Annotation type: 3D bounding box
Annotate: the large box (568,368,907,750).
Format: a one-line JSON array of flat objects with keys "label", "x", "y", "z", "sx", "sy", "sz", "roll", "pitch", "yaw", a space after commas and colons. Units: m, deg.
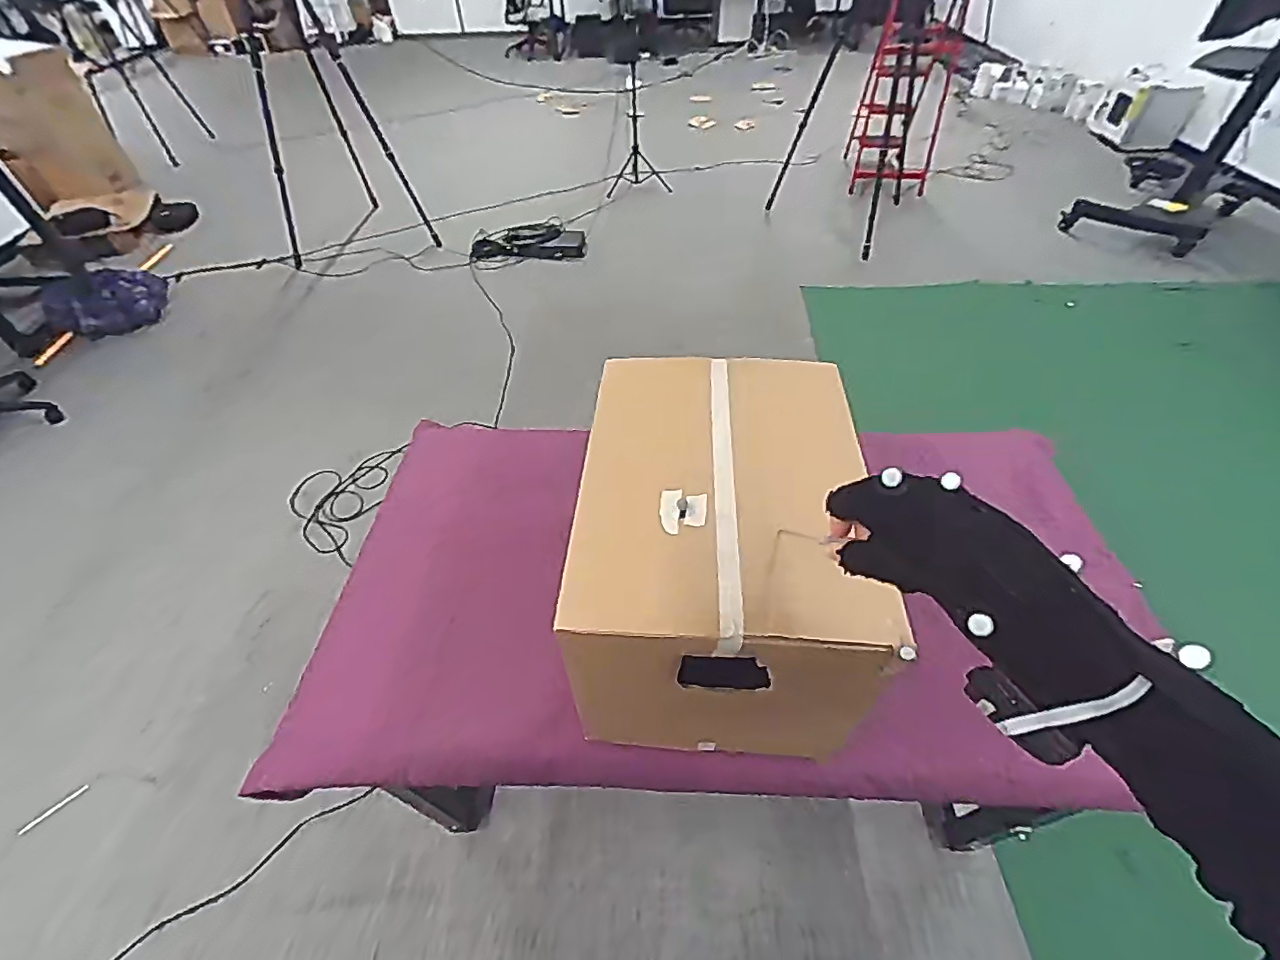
[{"label": "large box", "x": 0.098, "y": 0.097, "z": 0.726, "sx": 0.320, "sy": 0.320, "sz": 0.408, "roll": 2, "pitch": 49, "yaw": 4}]
